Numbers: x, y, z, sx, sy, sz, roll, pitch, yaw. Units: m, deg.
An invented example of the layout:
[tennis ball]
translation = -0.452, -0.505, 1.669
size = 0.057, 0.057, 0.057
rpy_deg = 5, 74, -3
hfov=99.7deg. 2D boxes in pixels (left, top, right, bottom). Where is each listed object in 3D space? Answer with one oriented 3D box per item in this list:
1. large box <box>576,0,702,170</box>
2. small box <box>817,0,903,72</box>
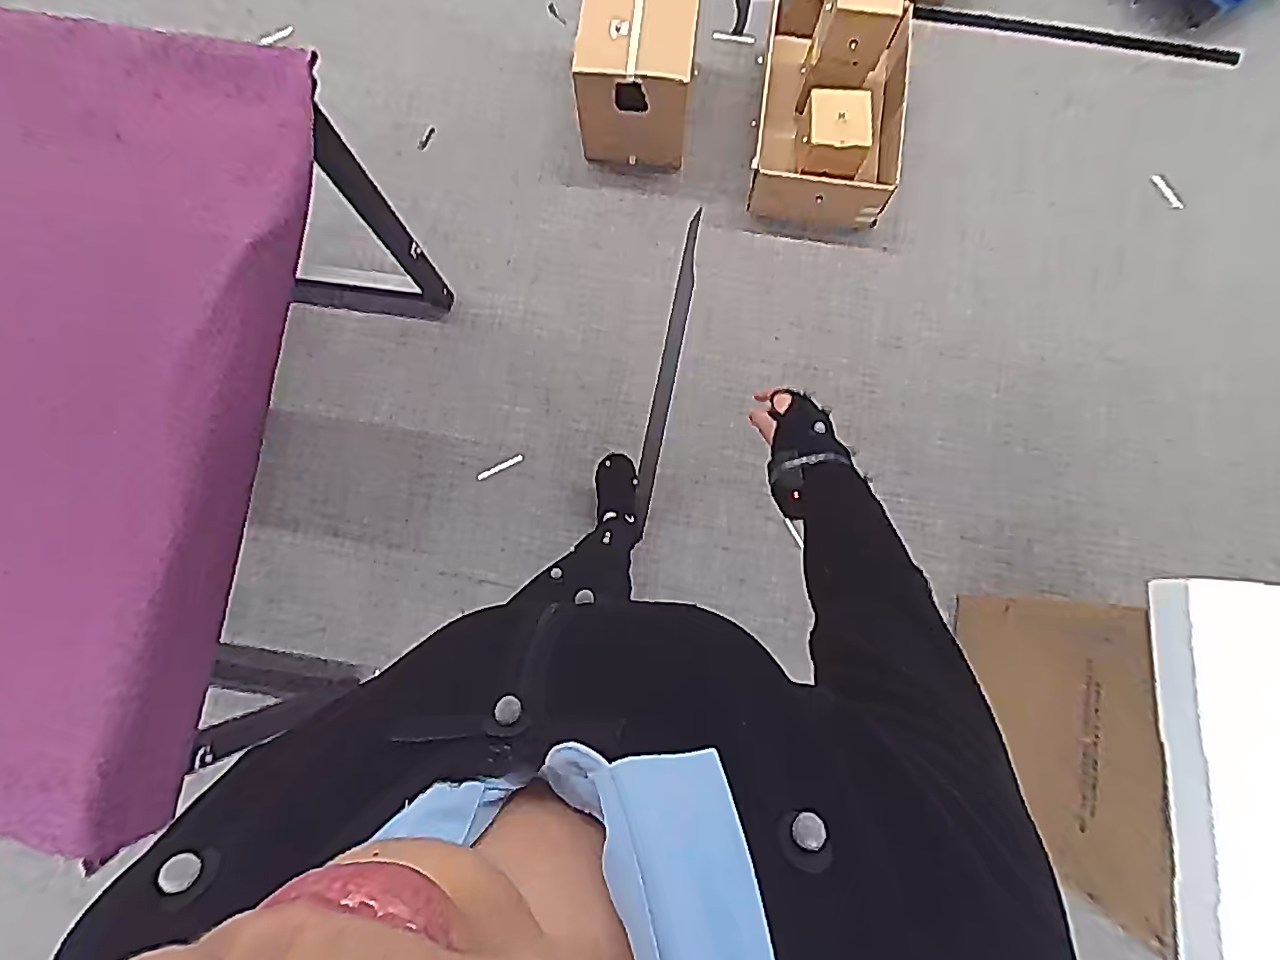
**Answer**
[large box]
translation = 0.003, -1.200, 1.578
size = 0.320, 0.320, 0.408
rpy_deg = 6, 81, 2
[small box]
translation = 0.580, -1.230, 1.430
size = 0.168, 0.176, 0.179
rpy_deg = 8, 82, 0
